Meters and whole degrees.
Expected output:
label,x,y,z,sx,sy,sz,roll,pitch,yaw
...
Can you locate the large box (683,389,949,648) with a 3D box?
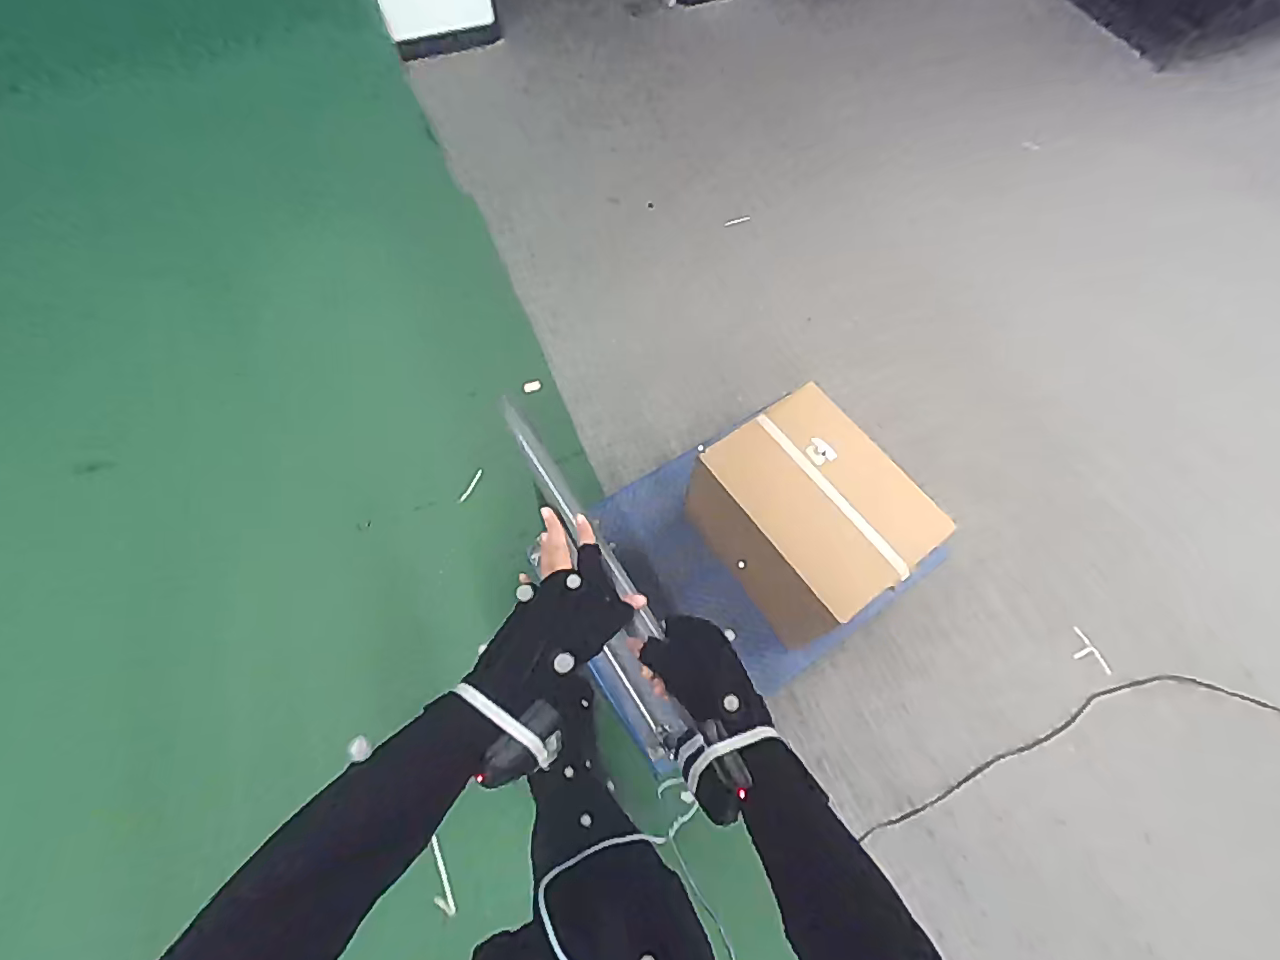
label,x,y,z,sx,sy,sz,roll,pitch,yaw
large box,0.345,0.092,1.177,0.320,0.320,0.408,-32,69,-17
